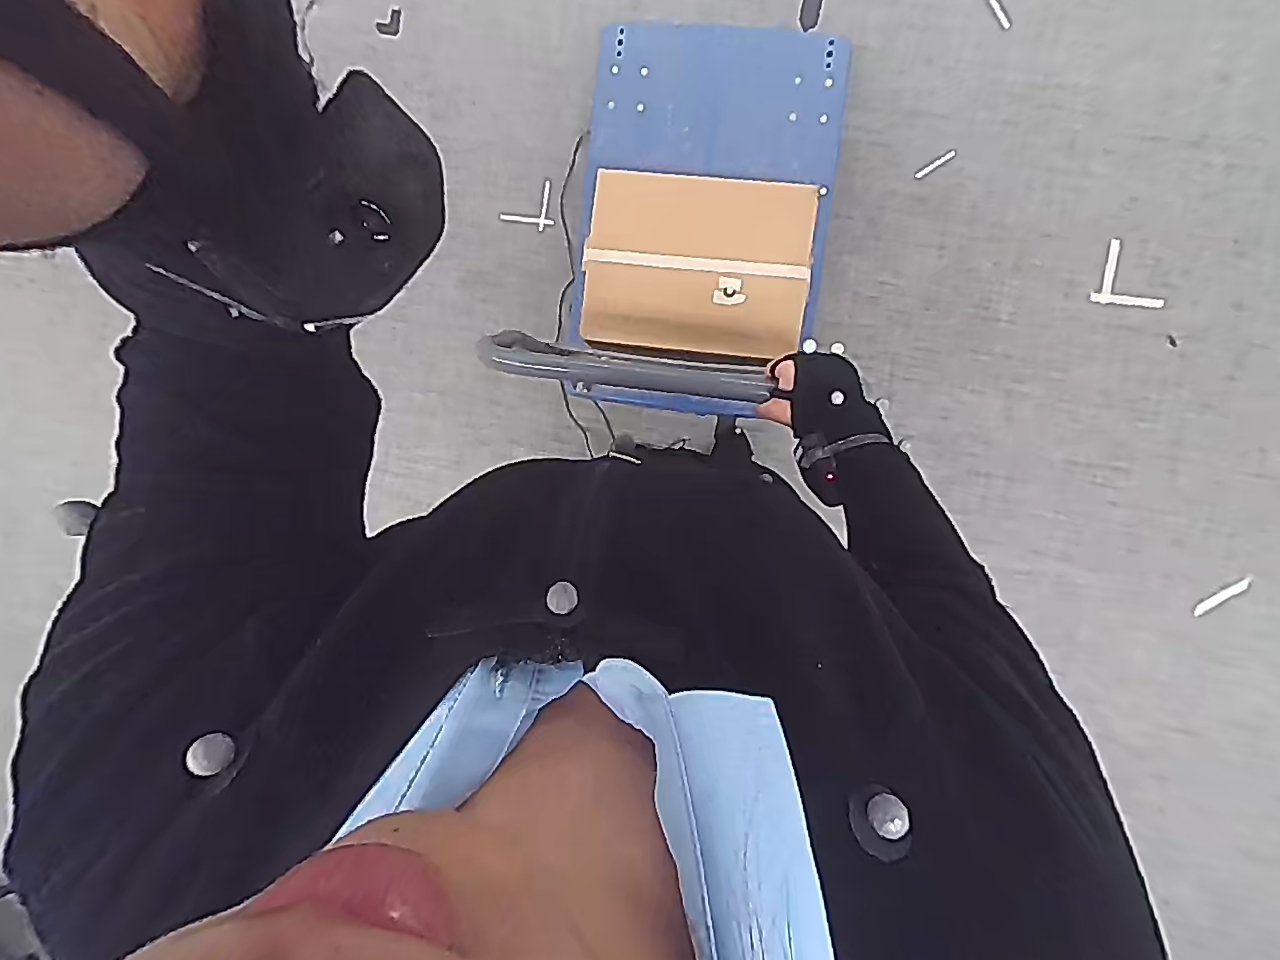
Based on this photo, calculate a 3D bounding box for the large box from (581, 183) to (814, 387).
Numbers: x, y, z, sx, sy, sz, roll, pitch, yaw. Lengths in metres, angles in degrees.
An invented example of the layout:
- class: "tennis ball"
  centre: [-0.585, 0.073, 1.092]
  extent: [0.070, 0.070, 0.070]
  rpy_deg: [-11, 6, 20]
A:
- class: "large box"
  centre: [0.109, -0.381, 1.133]
  extent: [0.408, 0.320, 0.320]
  rpy_deg: [7, 94, 4]
